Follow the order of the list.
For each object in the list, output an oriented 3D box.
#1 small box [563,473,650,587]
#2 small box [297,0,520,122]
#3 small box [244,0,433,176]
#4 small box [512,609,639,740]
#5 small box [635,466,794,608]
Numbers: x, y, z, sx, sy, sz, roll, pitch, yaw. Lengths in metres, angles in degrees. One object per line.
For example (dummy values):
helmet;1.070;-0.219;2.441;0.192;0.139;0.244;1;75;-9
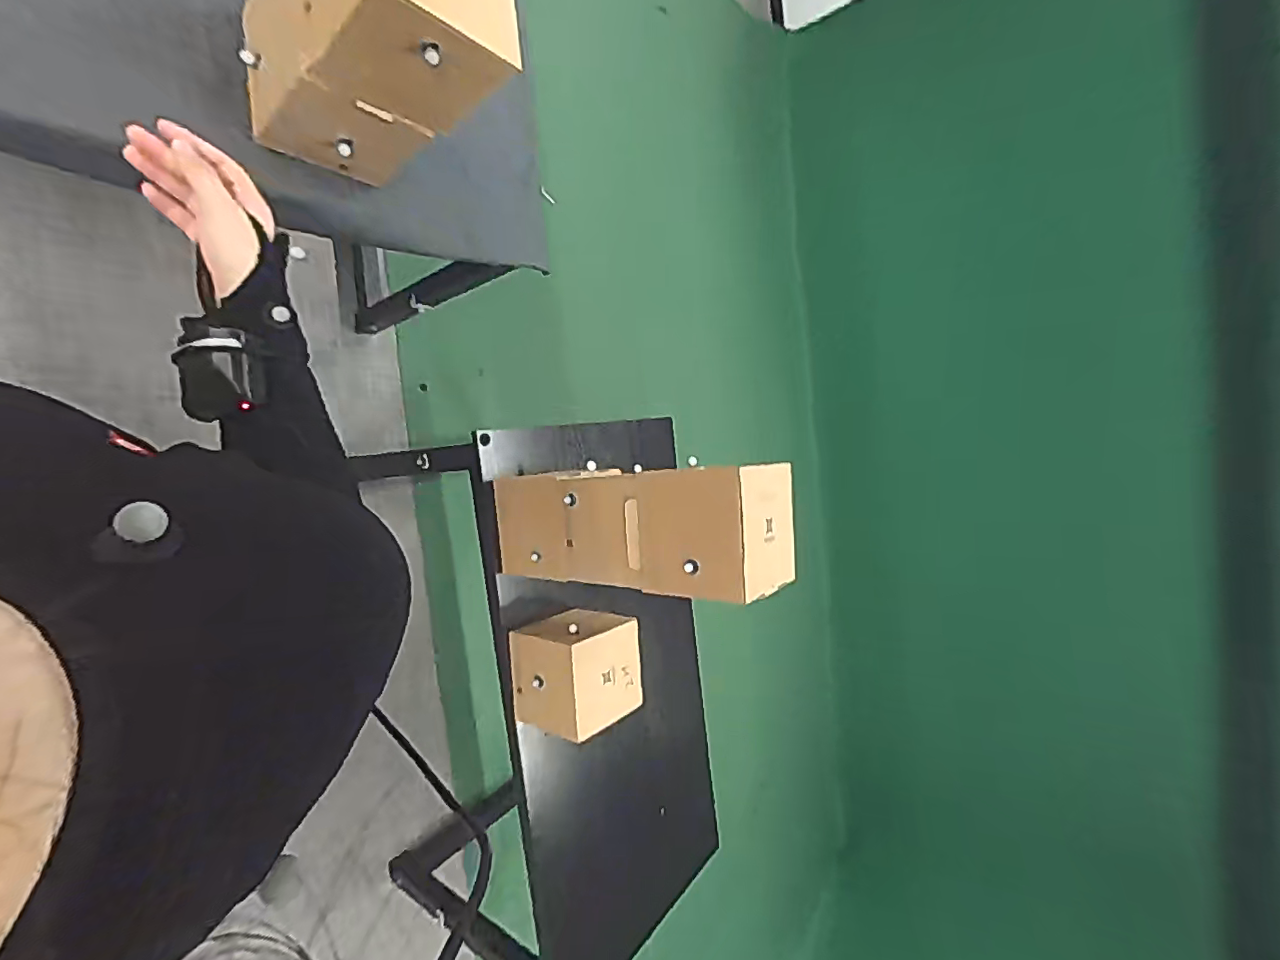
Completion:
small box;-0.014;0.072;0.885;0.179;0.176;0.168;-6;94;-52
small box;-0.262;-0.547;0.610;0.179;0.176;0.168;-8;93;-50
small box;-0.394;-0.537;0.707;0.168;0.176;0.179;-5;91;-50
small box;-0.123;0.347;1.000;0.179;0.176;0.168;-5;93;-51
small box;0.107;0.070;0.776;0.168;0.176;0.179;-5;93;-53
